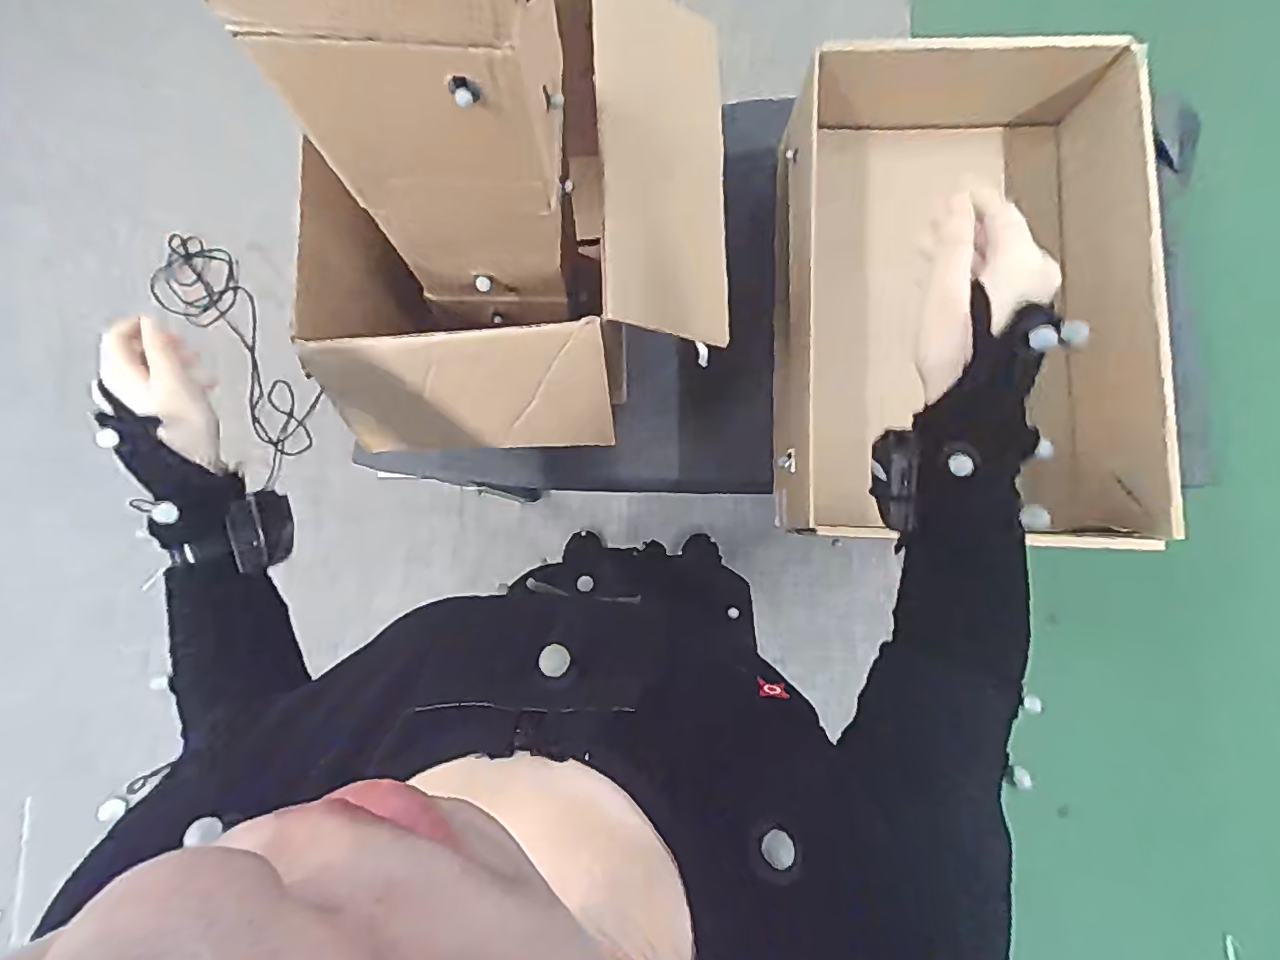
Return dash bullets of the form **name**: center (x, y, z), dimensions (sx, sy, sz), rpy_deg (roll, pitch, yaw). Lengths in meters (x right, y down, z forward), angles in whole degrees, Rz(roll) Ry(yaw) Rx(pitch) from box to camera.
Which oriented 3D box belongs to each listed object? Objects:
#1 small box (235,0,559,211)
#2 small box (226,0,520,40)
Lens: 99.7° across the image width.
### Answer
- **small box**: center (-0.163, -0.337, 0.423), dimensions (0.179, 0.176, 0.168), rpy_deg (1, 83, -3)
- **small box**: center (-0.156, -0.361, 0.261), dimensions (0.179, 0.176, 0.168), rpy_deg (3, 82, -2)
